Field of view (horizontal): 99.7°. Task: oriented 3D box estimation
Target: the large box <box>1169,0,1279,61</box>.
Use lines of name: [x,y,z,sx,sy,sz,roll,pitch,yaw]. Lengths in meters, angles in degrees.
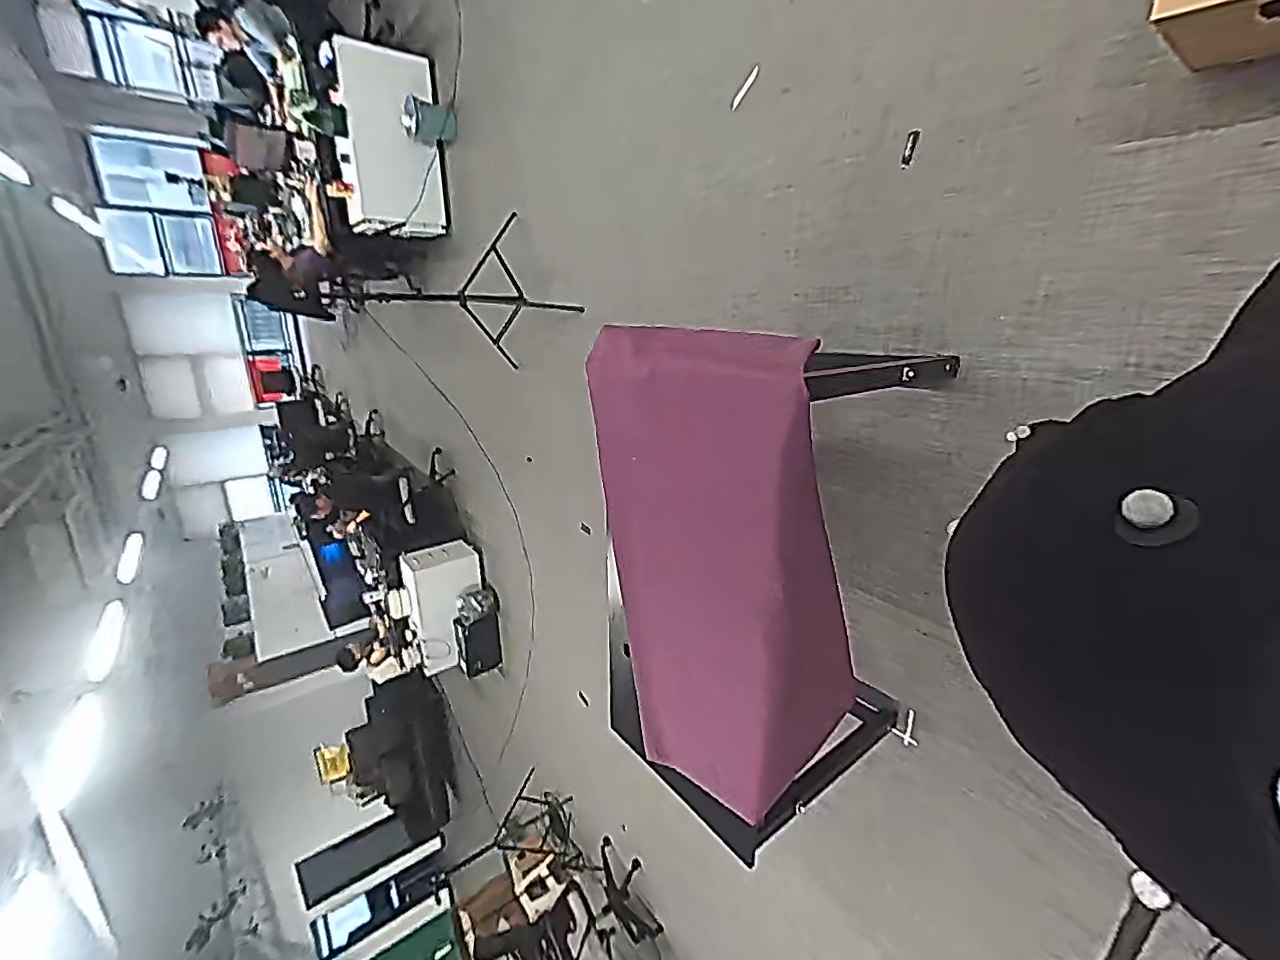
large box: [1.003,-0.868,0.715,0.320,0.320,0.408,27,123,49]
